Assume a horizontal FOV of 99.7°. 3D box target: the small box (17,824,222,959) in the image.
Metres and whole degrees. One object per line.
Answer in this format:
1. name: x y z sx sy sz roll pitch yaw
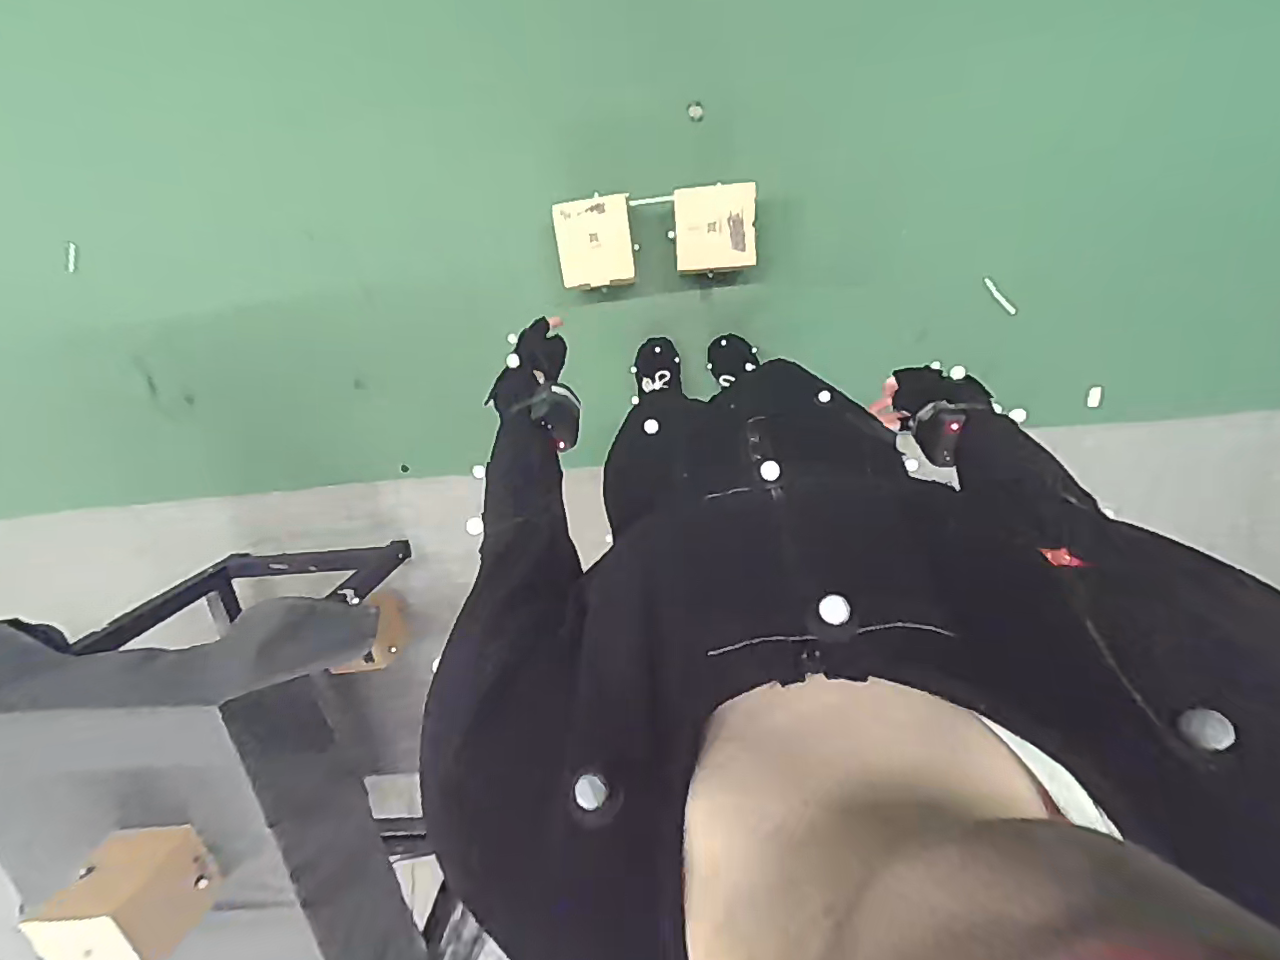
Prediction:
1. small box: -0.918 0.756 0.973 0.179 0.176 0.168 -7 108 6

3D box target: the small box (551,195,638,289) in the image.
1. small box: -0.098 -0.550 1.268 0.168 0.176 0.179 -6 109 5

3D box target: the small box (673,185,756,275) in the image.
1. small box: 0.167 -0.569 1.245 0.179 0.176 0.168 -2 108 5
